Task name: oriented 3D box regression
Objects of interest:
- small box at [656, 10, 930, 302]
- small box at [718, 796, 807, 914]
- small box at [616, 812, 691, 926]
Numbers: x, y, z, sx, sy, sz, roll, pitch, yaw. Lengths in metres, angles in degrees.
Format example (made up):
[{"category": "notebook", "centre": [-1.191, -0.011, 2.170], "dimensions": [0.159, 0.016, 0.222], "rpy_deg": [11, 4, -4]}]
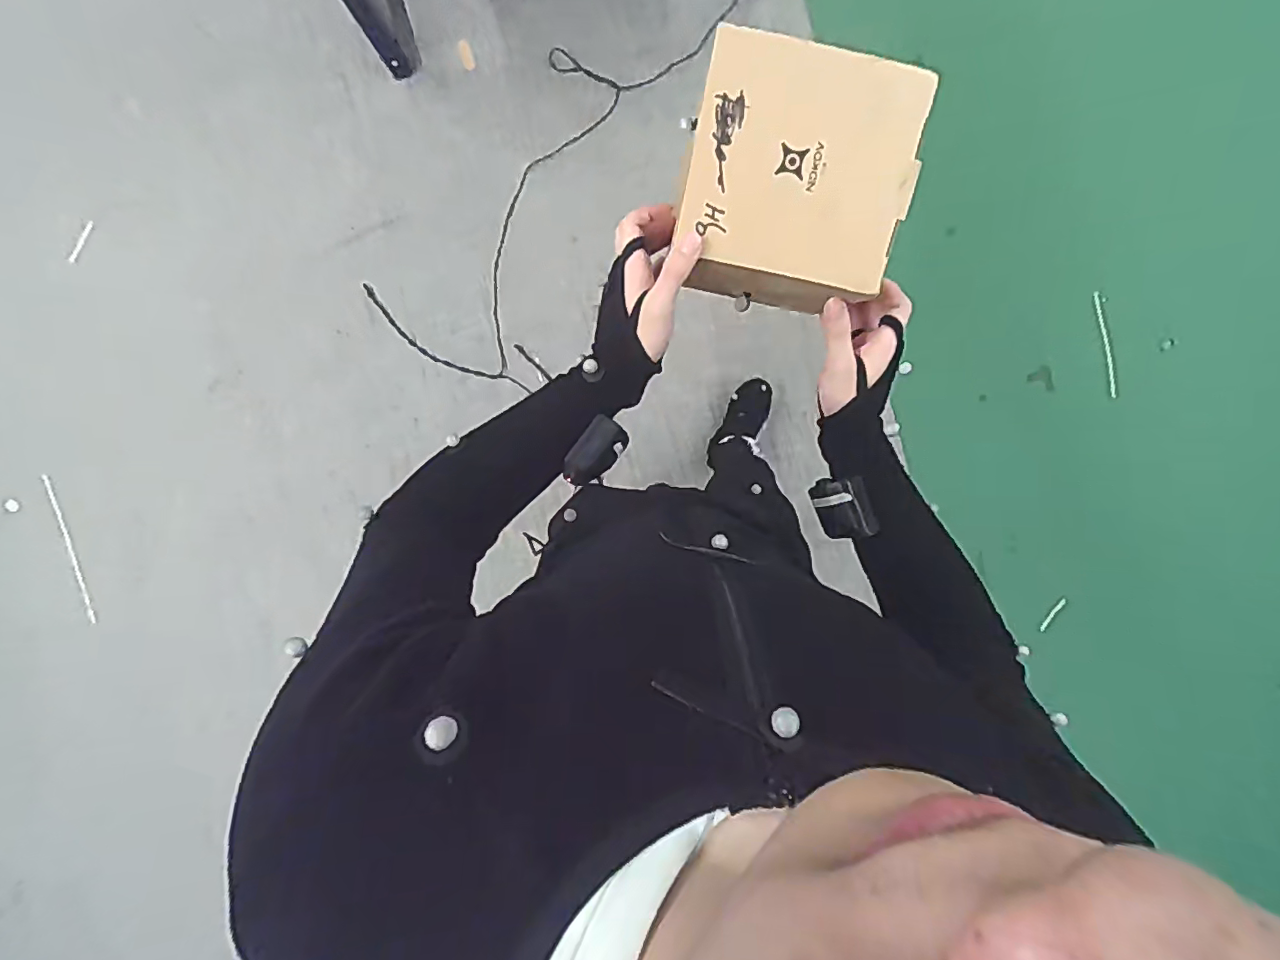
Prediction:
[{"category": "small box", "centre": [0.118, -0.269, 0.498], "dimensions": [0.179, 0.176, 0.168], "rpy_deg": [11, 101, -4]}, {"category": "small box", "centre": [0.304, 0.944, 1.381], "dimensions": [0.168, 0.176, 0.179], "rpy_deg": [-15, 94, 2]}, {"category": "small box", "centre": [0.034, 0.983, 1.386], "dimensions": [0.168, 0.176, 0.179], "rpy_deg": [-8, 93, 2]}]
